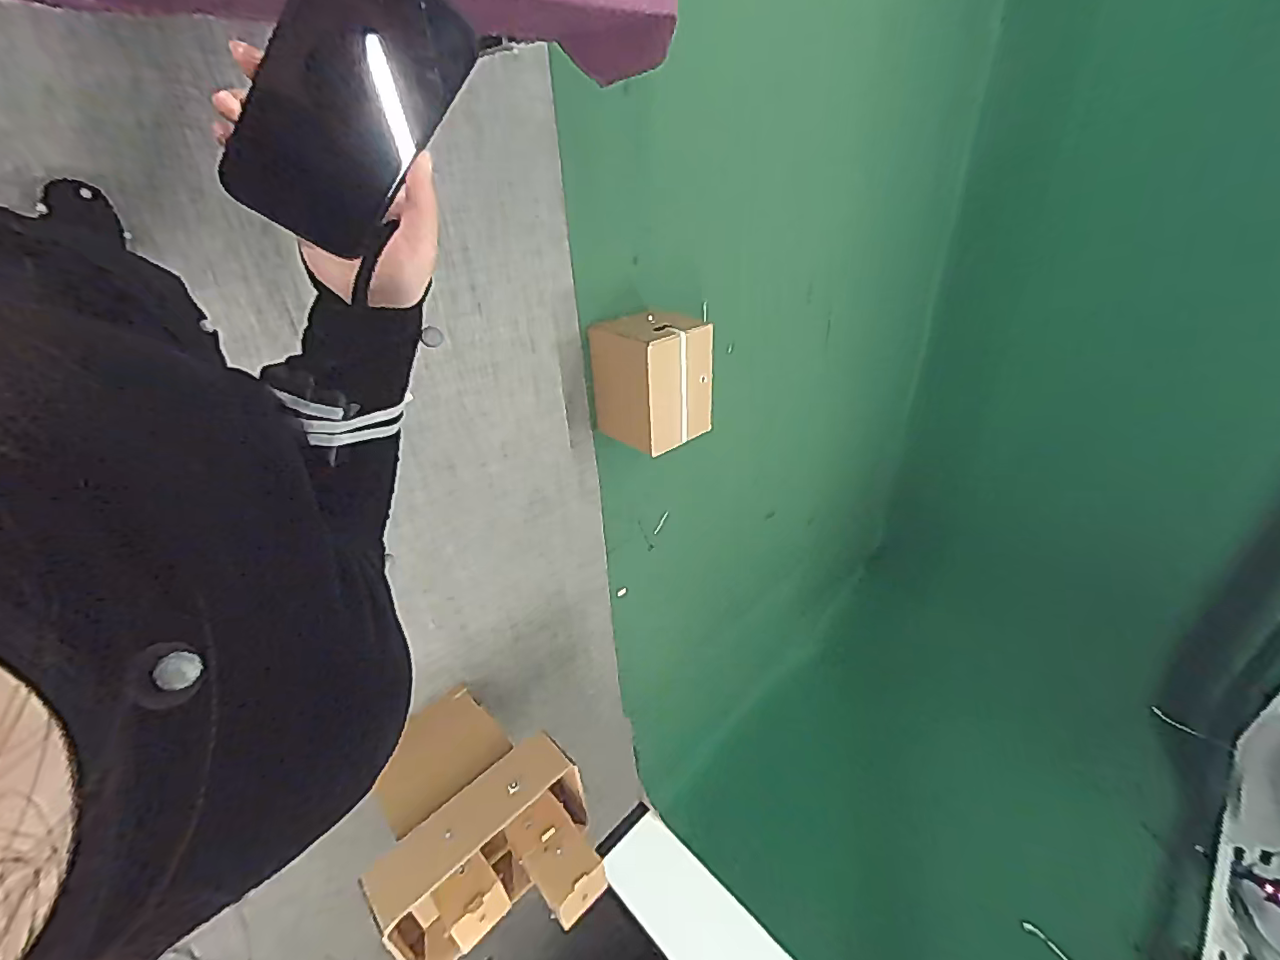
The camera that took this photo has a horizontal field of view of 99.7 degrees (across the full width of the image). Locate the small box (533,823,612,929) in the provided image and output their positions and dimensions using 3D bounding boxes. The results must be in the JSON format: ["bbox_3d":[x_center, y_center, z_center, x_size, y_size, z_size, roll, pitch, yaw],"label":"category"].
[{"bbox_3d":[-0.205,1.199,1.649,0.168,0.176,0.179,-29,129,-33],"label":"small box"}]

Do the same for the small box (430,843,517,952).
[{"bbox_3d":[-0.498,1.240,1.617,0.168,0.176,0.179,-31,130,-34],"label":"small box"}]
